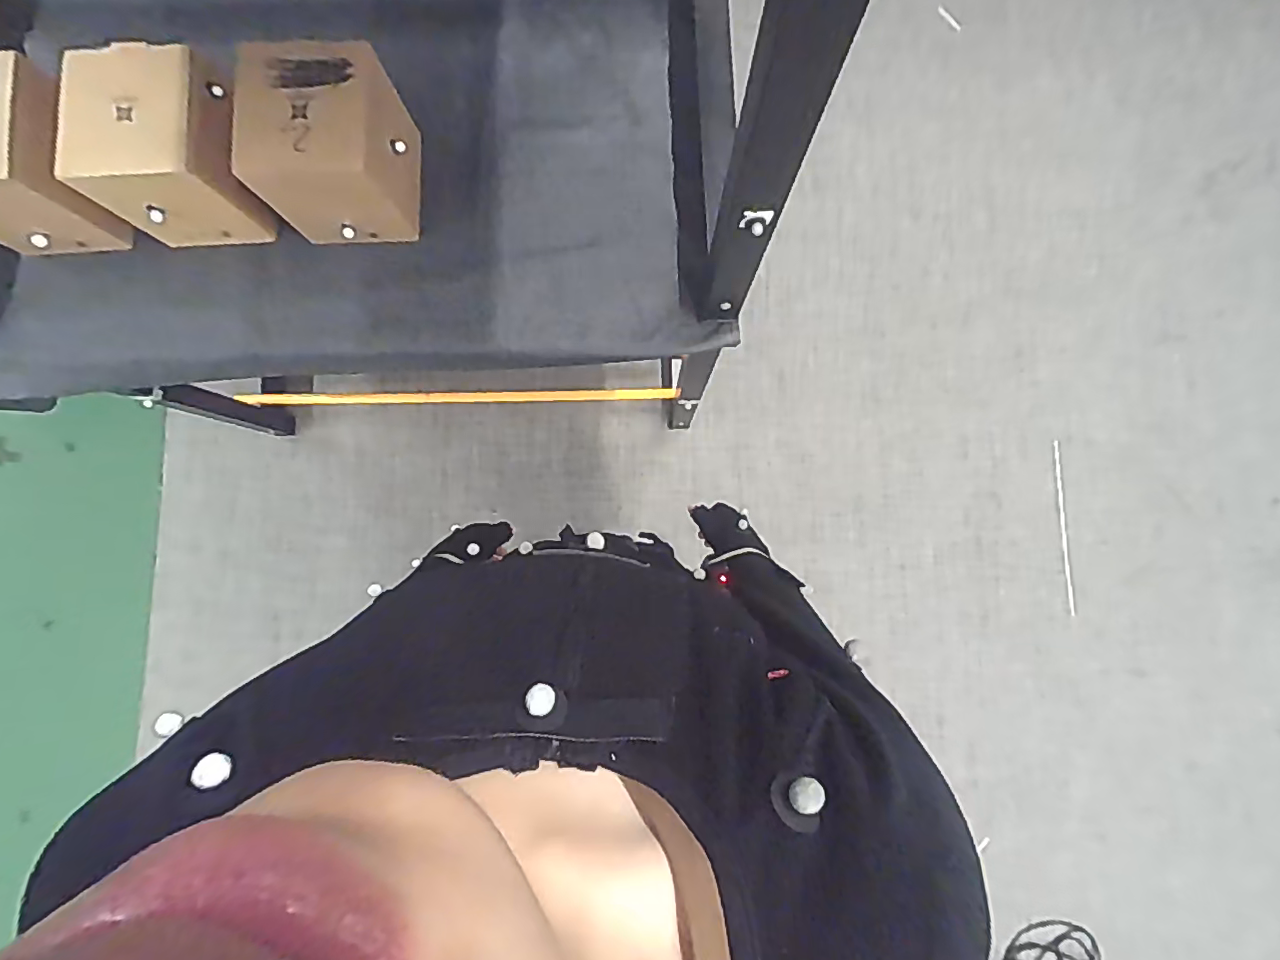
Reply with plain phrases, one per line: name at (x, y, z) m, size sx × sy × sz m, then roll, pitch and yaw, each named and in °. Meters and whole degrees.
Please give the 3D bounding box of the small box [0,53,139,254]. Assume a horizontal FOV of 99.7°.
small box at (-0.853, -0.442, 0.753) m, size 0.168 × 0.176 × 0.179 m, roll -4°, pitch 84°, yaw 0°
